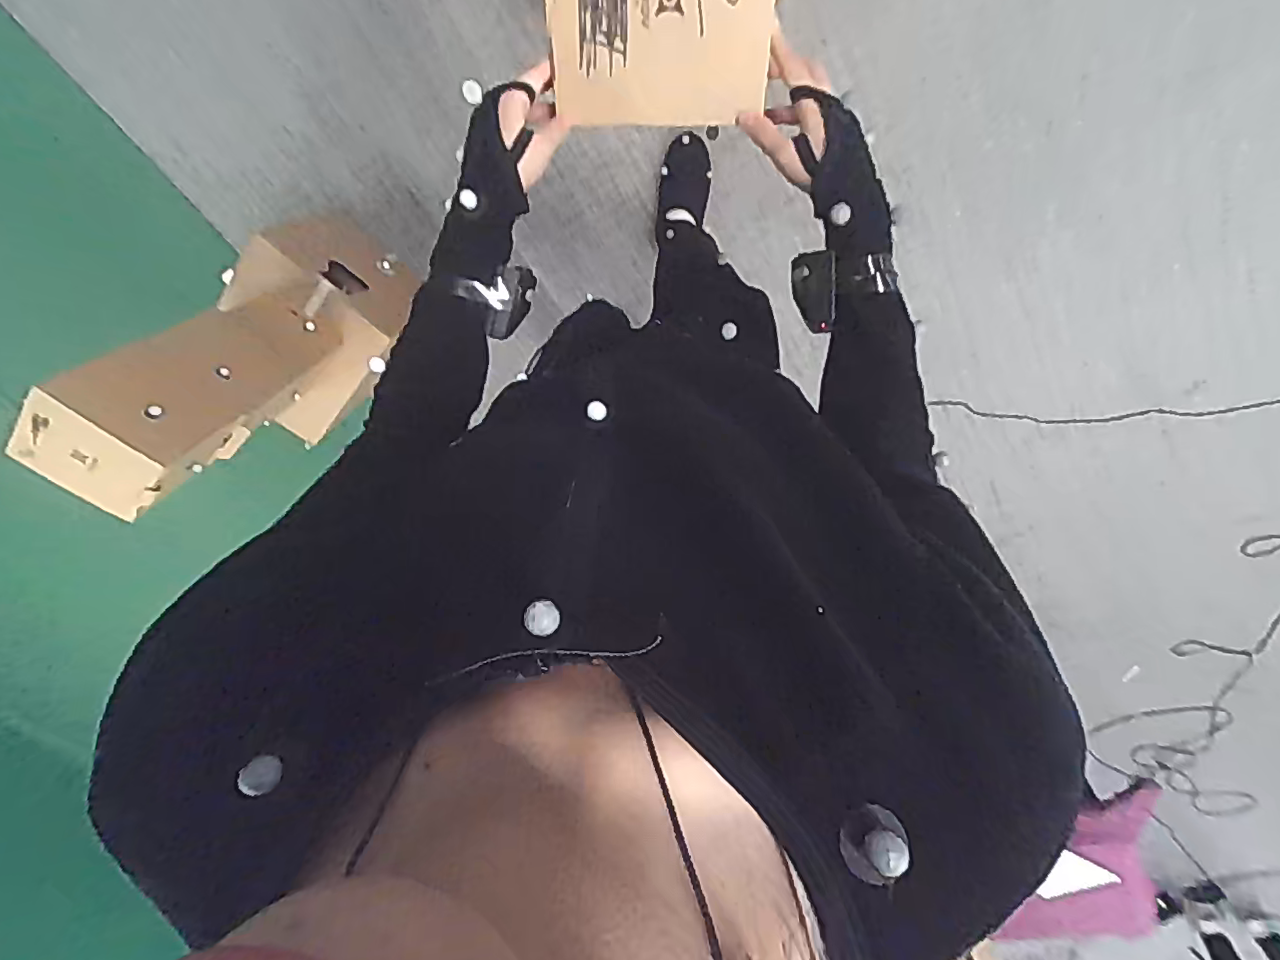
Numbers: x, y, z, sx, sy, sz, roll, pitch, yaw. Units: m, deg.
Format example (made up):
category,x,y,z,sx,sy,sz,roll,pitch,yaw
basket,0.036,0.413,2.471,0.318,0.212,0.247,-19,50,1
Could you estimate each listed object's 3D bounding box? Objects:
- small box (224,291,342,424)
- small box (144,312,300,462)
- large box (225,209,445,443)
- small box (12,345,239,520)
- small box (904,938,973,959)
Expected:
category,x,y,z,sx,sy,sz,roll,pitch,yaw
small box,-0.759,-0.256,1.118,0.179,0.176,0.168,-36,116,25
small box,-0.767,-0.171,0.978,0.168,0.176,0.179,-34,116,25
large box,-0.758,-0.378,1.332,0.320,0.320,0.408,41,120,-19
small box,-0.785,-0.078,0.843,0.168,0.176,0.179,-36,117,25
small box,0.888,1.456,1.562,0.168,0.176,0.179,-23,117,20
